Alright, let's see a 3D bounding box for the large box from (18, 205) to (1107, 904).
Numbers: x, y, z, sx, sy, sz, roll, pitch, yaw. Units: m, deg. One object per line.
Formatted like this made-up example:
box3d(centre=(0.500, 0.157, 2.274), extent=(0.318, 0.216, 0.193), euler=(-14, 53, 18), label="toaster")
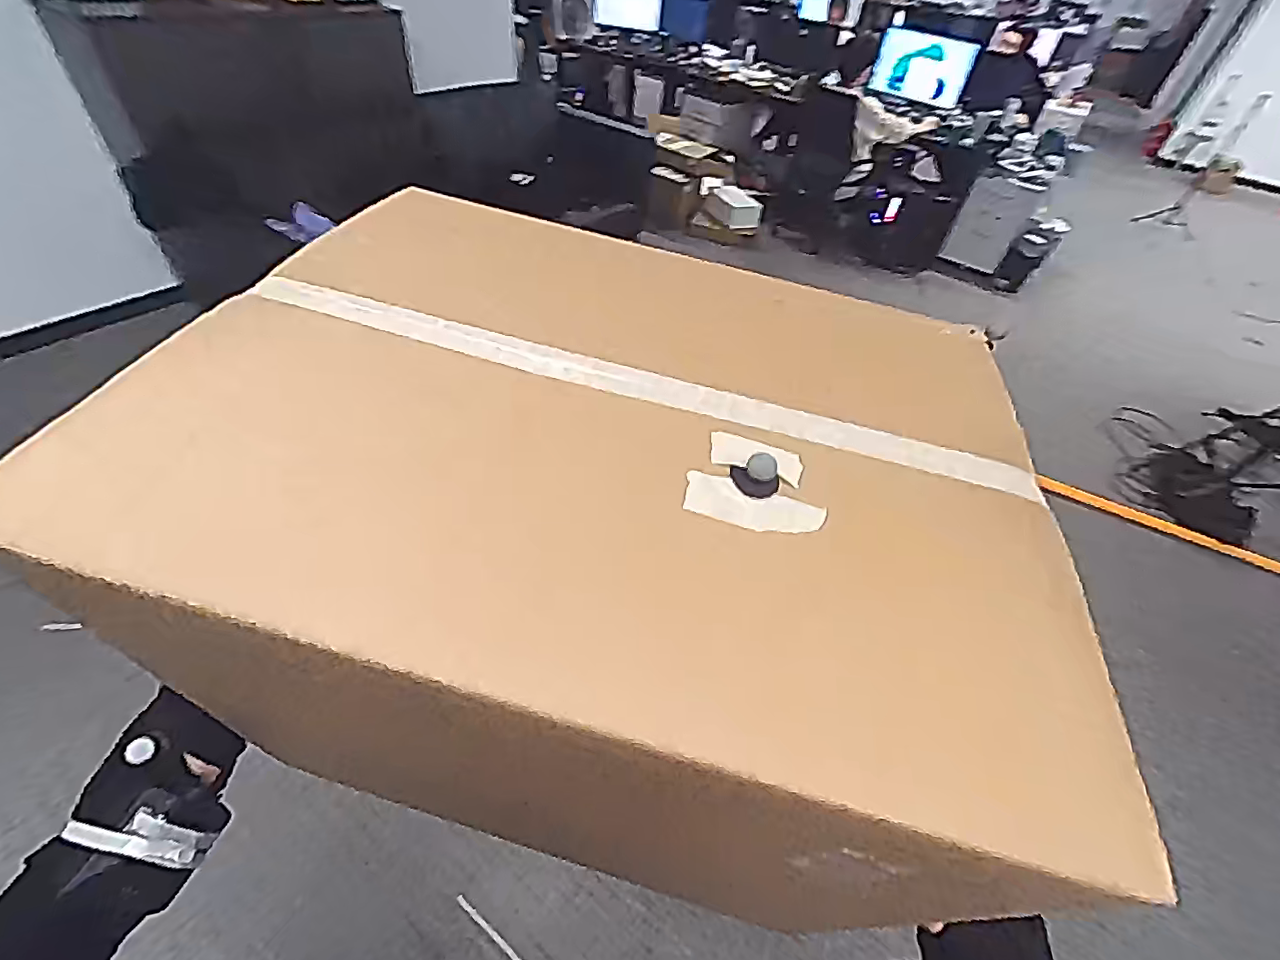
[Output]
box3d(centre=(-0.025, 0.055, 0.394), extent=(0.408, 0.320, 0.320), euler=(16, 49, 3), label="large box")
